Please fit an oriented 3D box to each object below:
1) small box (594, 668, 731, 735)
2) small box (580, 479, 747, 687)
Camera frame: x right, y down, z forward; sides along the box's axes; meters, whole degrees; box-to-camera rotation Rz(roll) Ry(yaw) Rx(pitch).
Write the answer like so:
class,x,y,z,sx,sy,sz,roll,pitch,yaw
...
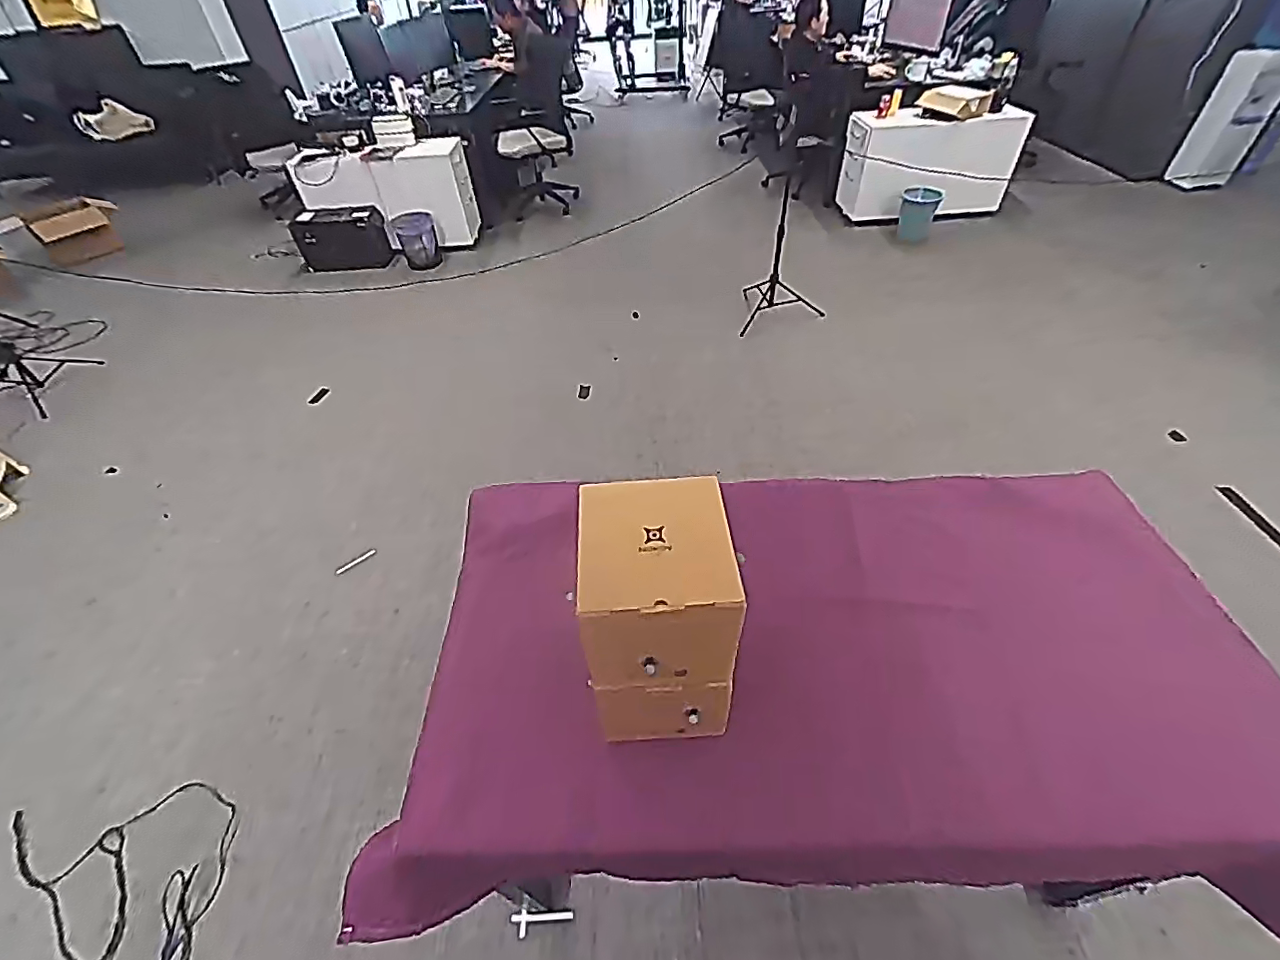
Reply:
class,x,y,z,sx,sy,sz,roll,pitch,yaw
small box,0.029,0.238,0.747,0.168,0.176,0.179,-3,45,0
small box,0.019,0.121,0.636,0.168,0.176,0.179,-4,46,-2
